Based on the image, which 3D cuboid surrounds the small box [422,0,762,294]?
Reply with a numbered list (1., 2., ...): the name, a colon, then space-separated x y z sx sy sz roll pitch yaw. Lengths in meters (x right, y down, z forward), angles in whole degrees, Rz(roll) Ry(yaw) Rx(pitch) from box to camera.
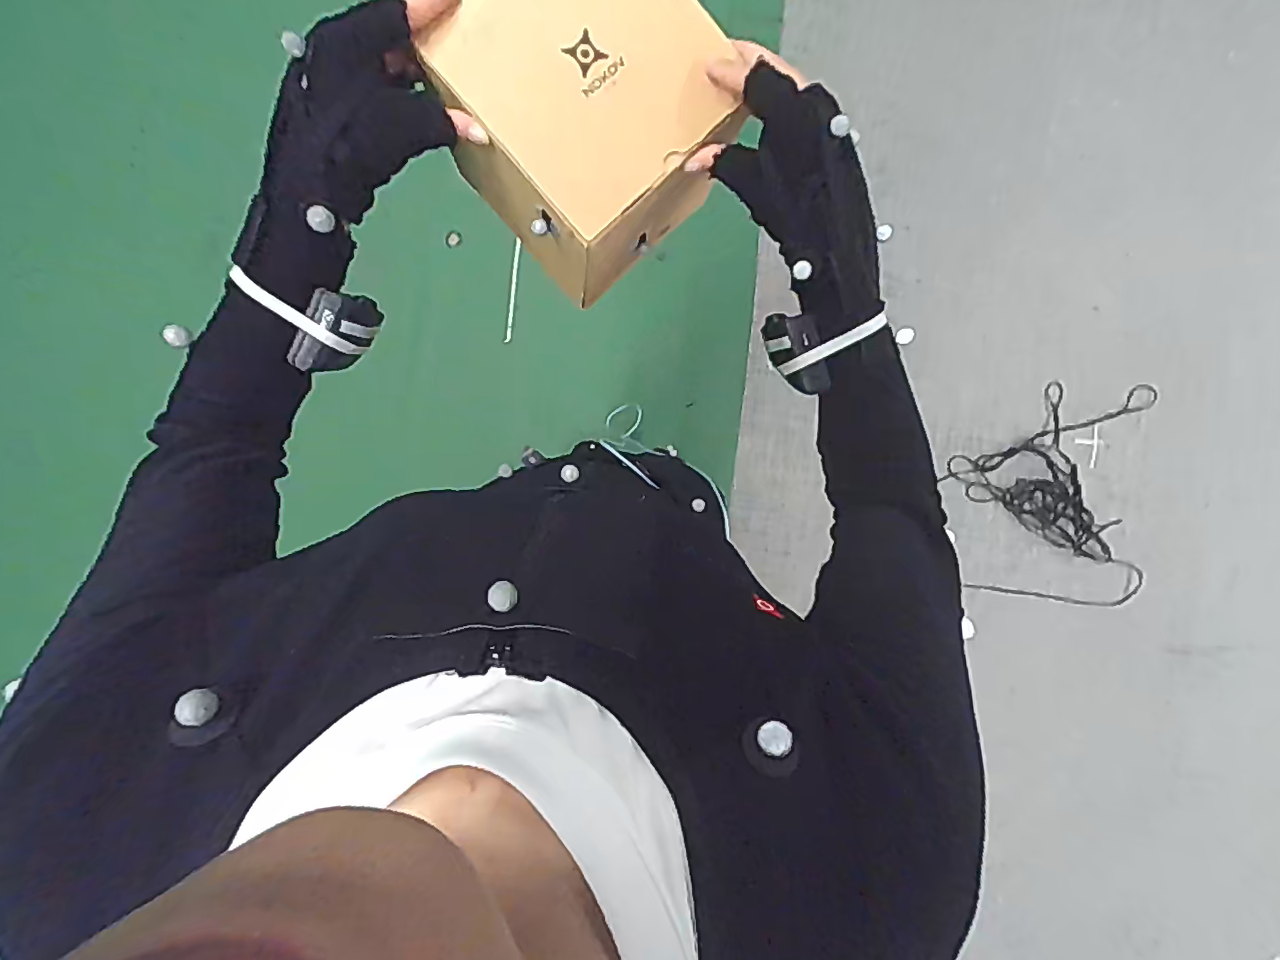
1. small box: -0.040 -0.286 0.444 0.168 0.176 0.179 -42 99 -4
